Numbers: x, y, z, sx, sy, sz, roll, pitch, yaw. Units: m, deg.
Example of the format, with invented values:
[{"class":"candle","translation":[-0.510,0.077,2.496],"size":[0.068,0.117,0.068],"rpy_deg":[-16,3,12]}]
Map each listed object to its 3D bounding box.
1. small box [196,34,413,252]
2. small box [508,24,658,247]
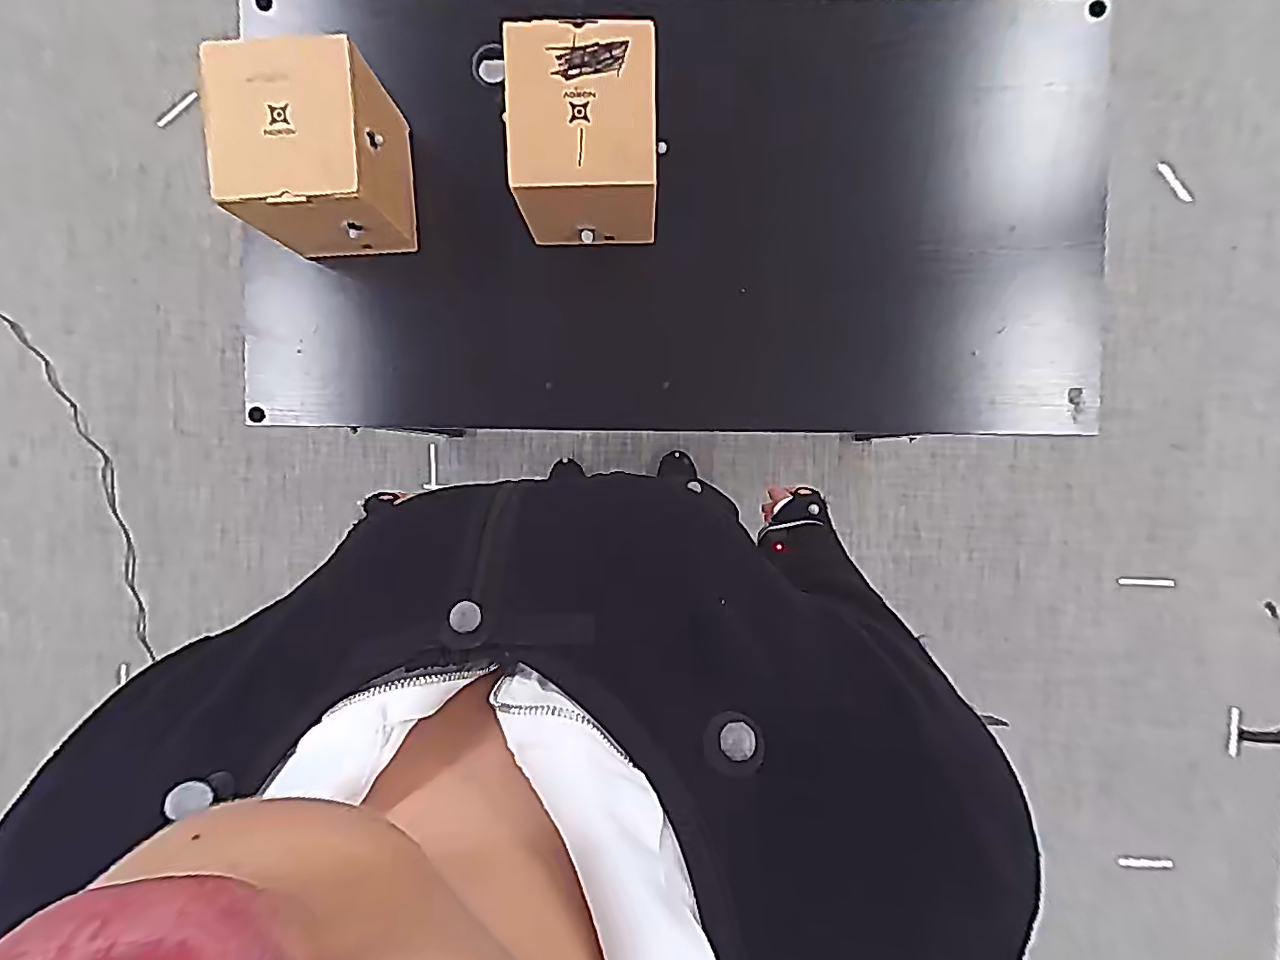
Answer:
[{"class":"small box","translation":[-0.395,-0.396,0.667],"size":[0.168,0.176,0.179],"rpy_deg":[-3,91,-1]},{"class":"small box","translation":[-0.063,-0.409,0.667],"size":[0.168,0.176,0.179],"rpy_deg":[-1,93,0]}]
